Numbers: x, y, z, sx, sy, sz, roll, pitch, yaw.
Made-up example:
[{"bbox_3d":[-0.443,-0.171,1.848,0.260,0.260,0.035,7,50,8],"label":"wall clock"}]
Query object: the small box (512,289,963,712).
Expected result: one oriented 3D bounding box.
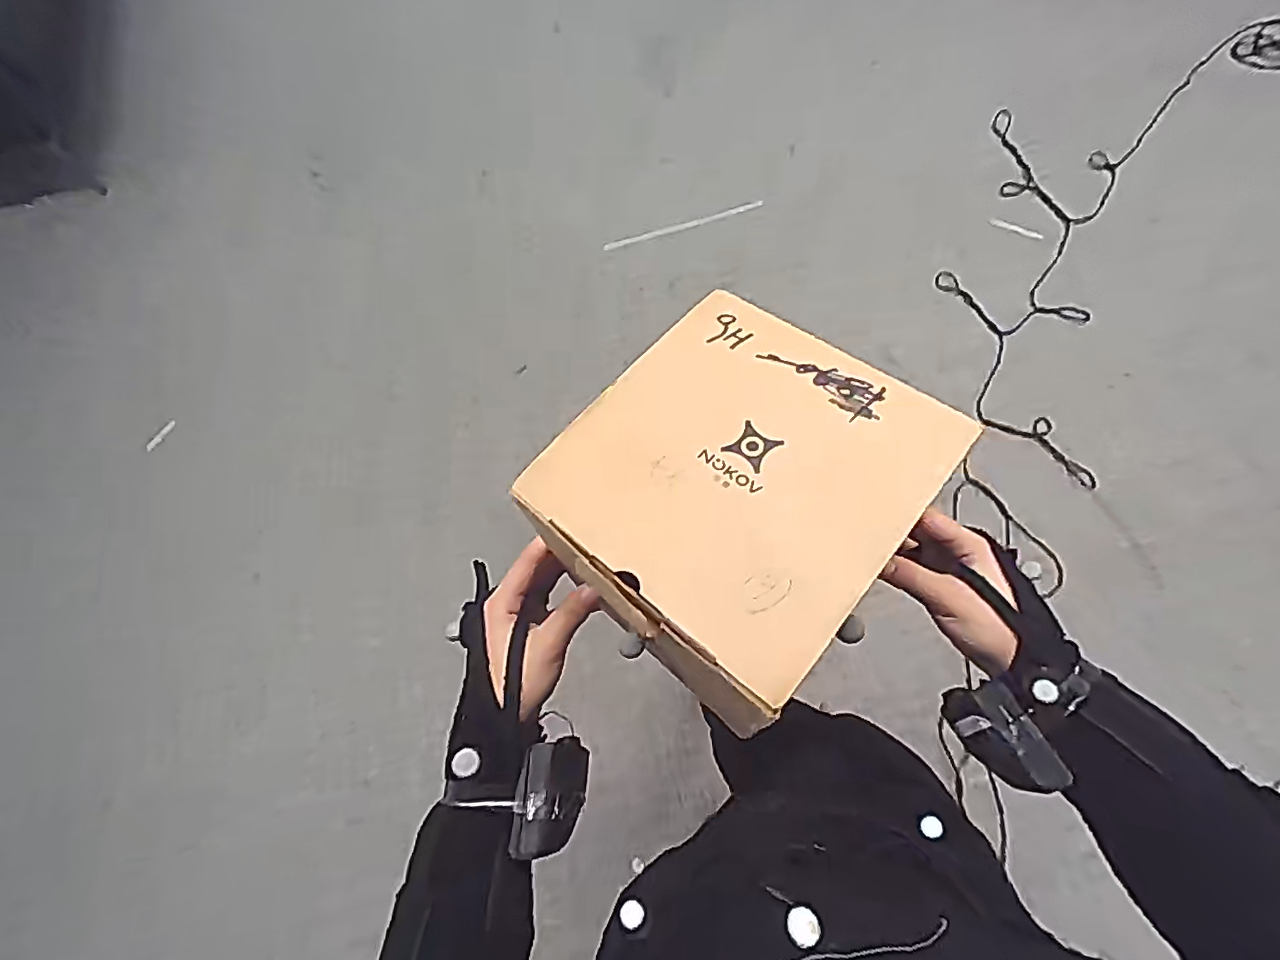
[{"bbox_3d":[0.057,0.024,0.347,0.168,0.176,0.179,37,73,22],"label":"small box"}]
